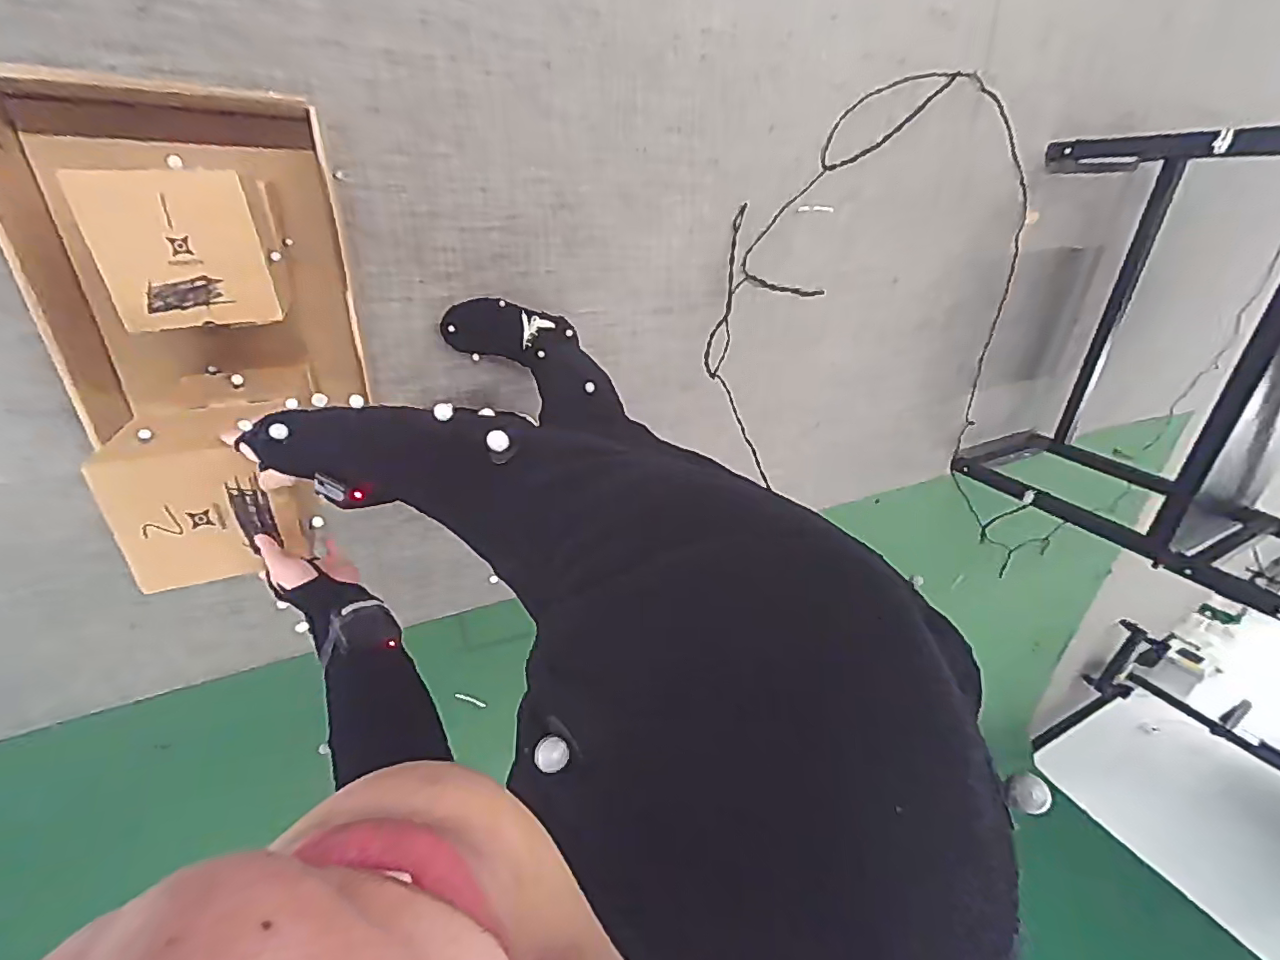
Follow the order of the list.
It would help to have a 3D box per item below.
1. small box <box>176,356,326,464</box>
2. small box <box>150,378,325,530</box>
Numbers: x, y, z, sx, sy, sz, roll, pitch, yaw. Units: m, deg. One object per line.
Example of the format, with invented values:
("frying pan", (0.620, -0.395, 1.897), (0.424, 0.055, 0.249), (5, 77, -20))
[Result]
("small box", (-0.666, -0.116, 0.951), (0.179, 0.176, 0.168), (-10, 118, -24))
("small box", (-0.590, -0.052, 0.820), (0.168, 0.176, 0.179), (-11, 118, -23))
